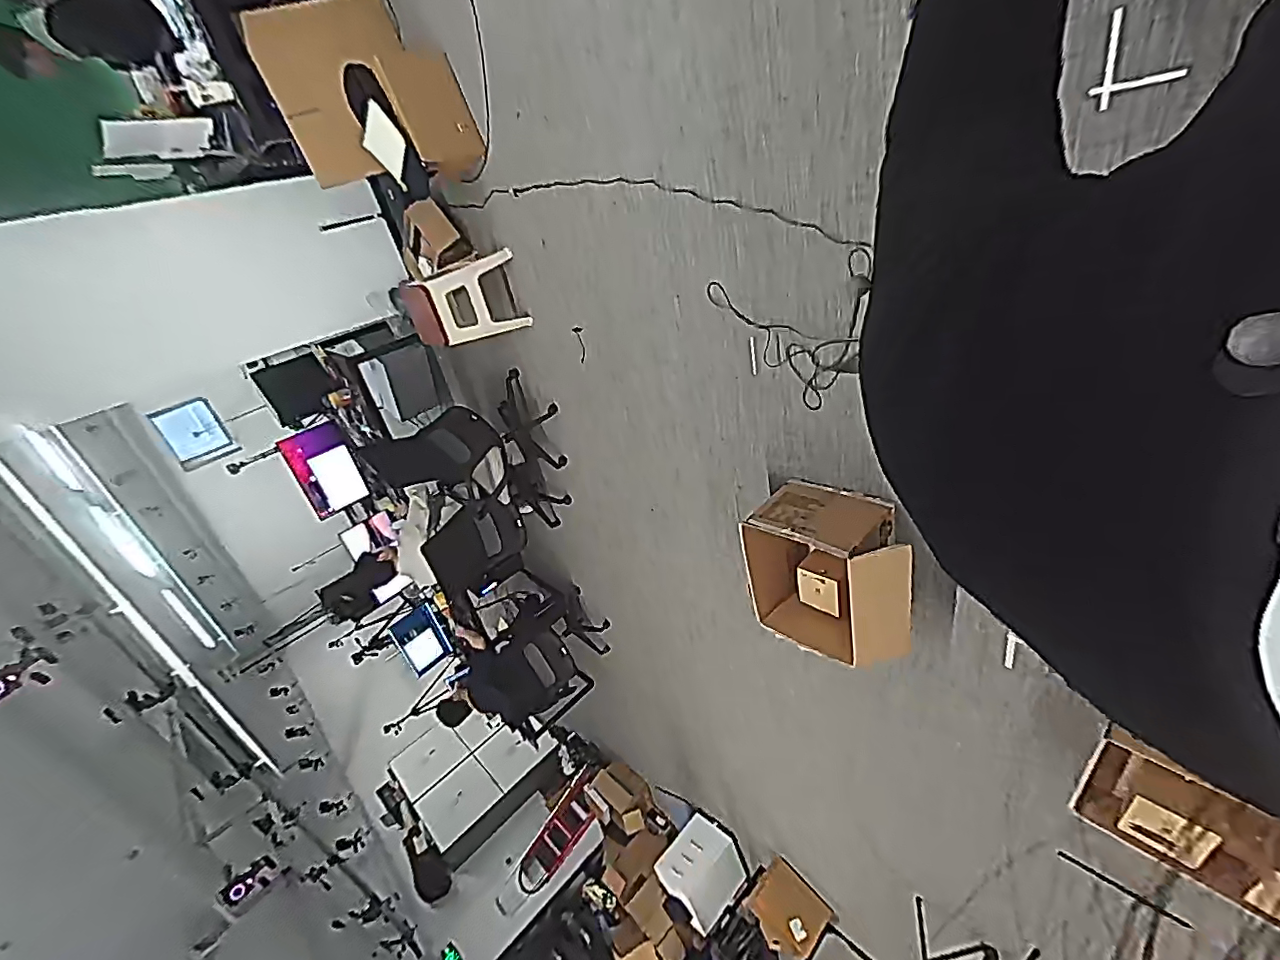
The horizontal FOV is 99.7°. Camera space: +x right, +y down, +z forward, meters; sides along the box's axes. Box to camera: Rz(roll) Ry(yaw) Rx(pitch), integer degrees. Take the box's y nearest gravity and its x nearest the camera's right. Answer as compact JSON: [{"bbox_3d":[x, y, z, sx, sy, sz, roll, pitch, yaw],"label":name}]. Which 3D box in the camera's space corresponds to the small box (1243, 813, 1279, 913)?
[{"bbox_3d":[1.645,0.971,1.322,0.179,0.176,0.168,25,135,42],"label":"small box"}]
